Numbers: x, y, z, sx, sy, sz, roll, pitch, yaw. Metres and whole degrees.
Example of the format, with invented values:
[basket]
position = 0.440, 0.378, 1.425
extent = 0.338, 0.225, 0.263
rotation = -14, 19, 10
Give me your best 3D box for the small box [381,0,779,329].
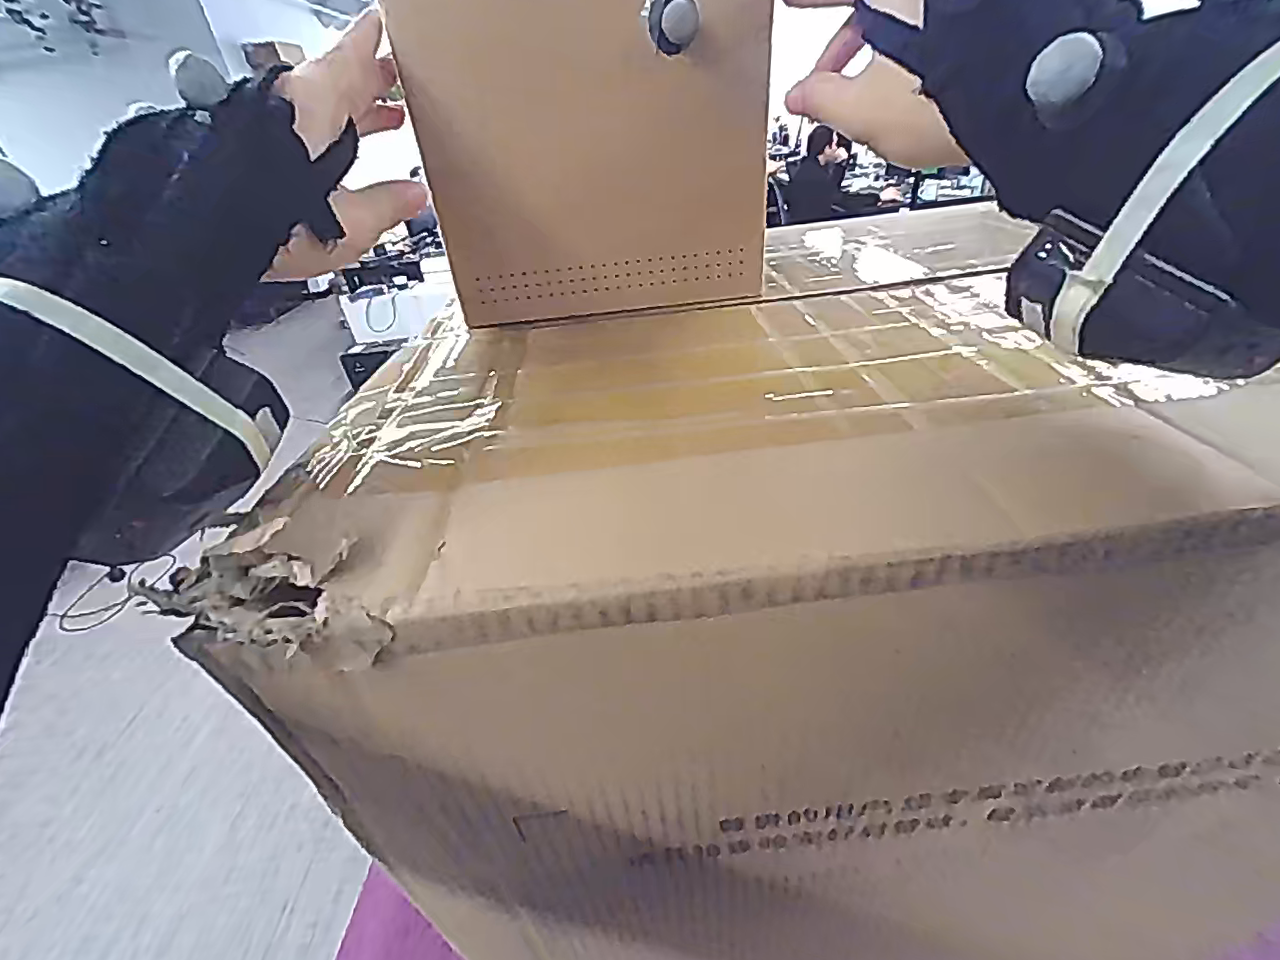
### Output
[small box]
position = -0.025, -0.205, 0.332
extent = 0.179, 0.176, 0.168
rotation = -7, 33, 0
